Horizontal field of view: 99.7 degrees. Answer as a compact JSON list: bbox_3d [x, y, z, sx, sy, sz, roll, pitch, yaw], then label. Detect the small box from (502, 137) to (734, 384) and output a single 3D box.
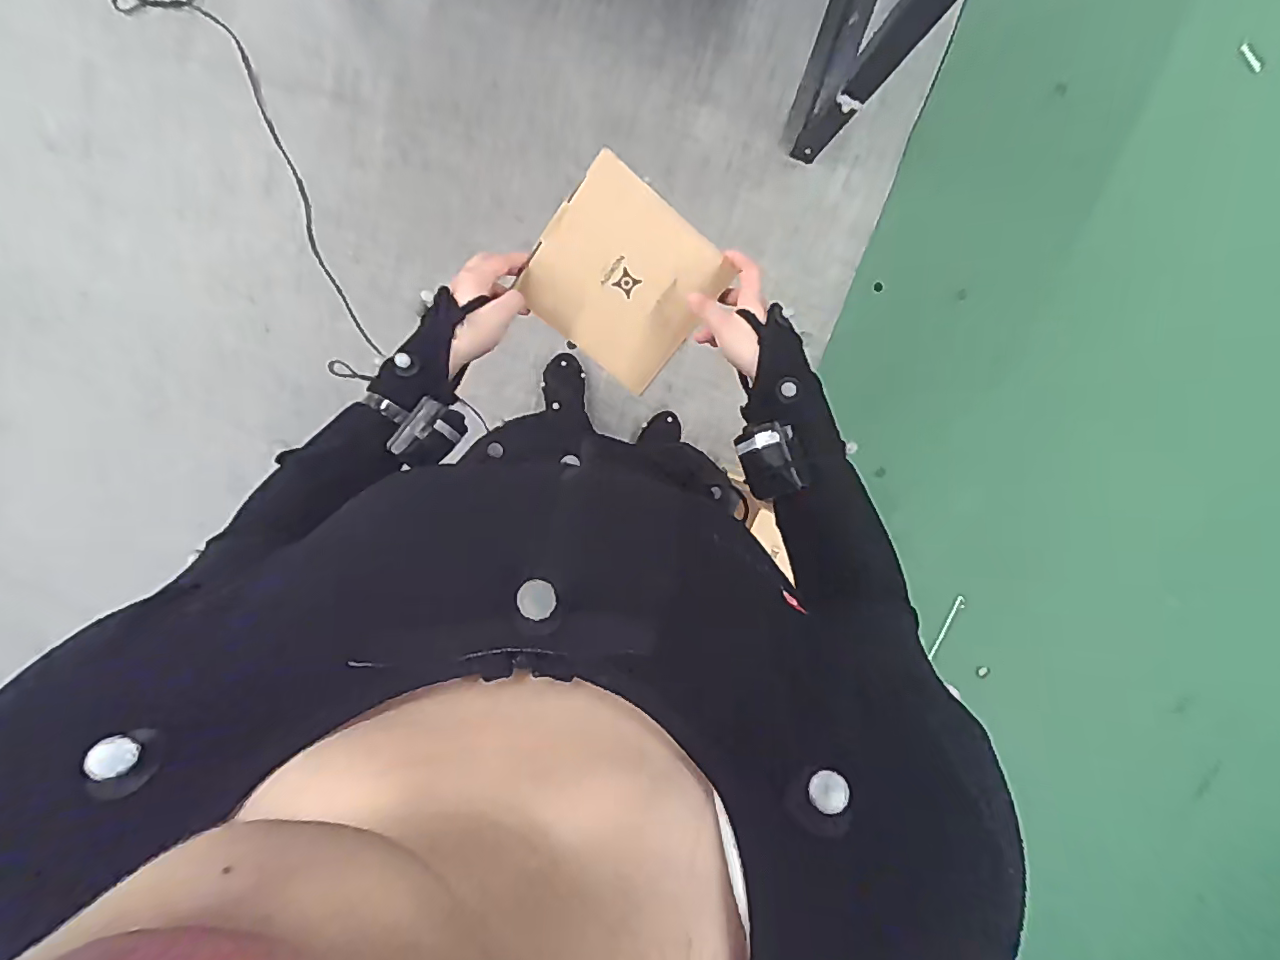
[{"bbox_3d":[-0.024,-0.238,0.611,0.179,0.176,0.168,36,108,-14],"label":"small box"}]
